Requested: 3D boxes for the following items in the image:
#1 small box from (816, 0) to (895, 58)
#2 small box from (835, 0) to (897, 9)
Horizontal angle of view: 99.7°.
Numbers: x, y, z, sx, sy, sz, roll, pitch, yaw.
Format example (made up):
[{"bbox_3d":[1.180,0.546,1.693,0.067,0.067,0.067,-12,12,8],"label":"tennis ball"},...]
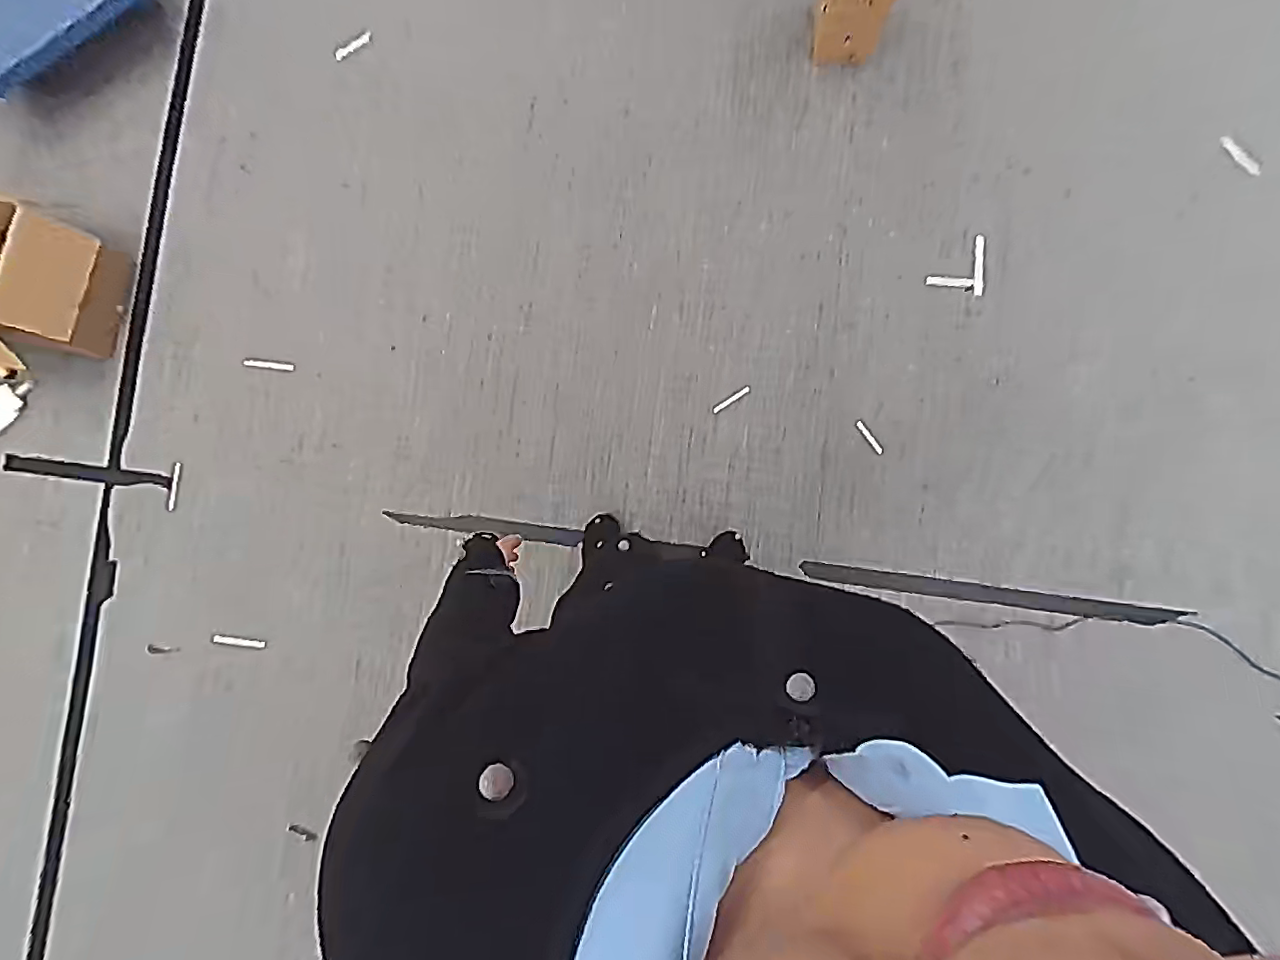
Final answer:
[{"bbox_3d":[0.595,-1.318,1.502,0.168,0.176,0.179,3,86,2],"label":"small box"},{"bbox_3d":[0.588,-1.329,1.339,0.168,0.176,0.179,4,87,3],"label":"small box"}]
